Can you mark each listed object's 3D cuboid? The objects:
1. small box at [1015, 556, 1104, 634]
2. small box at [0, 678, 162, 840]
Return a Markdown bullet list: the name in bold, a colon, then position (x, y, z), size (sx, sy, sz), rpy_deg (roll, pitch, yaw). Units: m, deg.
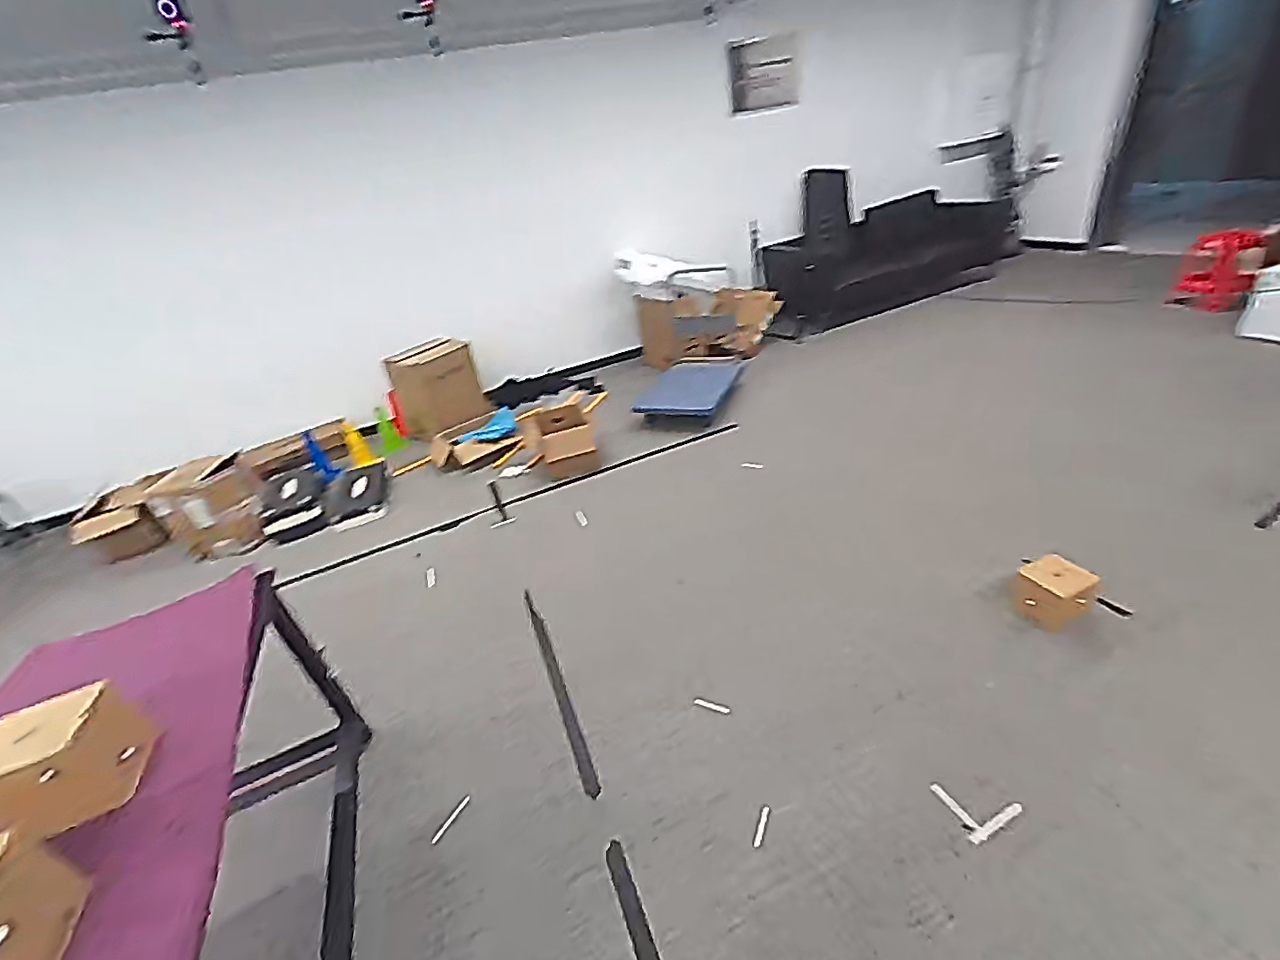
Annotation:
- **small box**: position (1.425, 0.396, 1.849), size (0.179, 0.176, 0.168), rpy_deg (-18, 31, -13)
- **small box**: position (-1.048, 0.510, 0.993), size (0.179, 0.176, 0.168), rpy_deg (-20, 31, -16)
